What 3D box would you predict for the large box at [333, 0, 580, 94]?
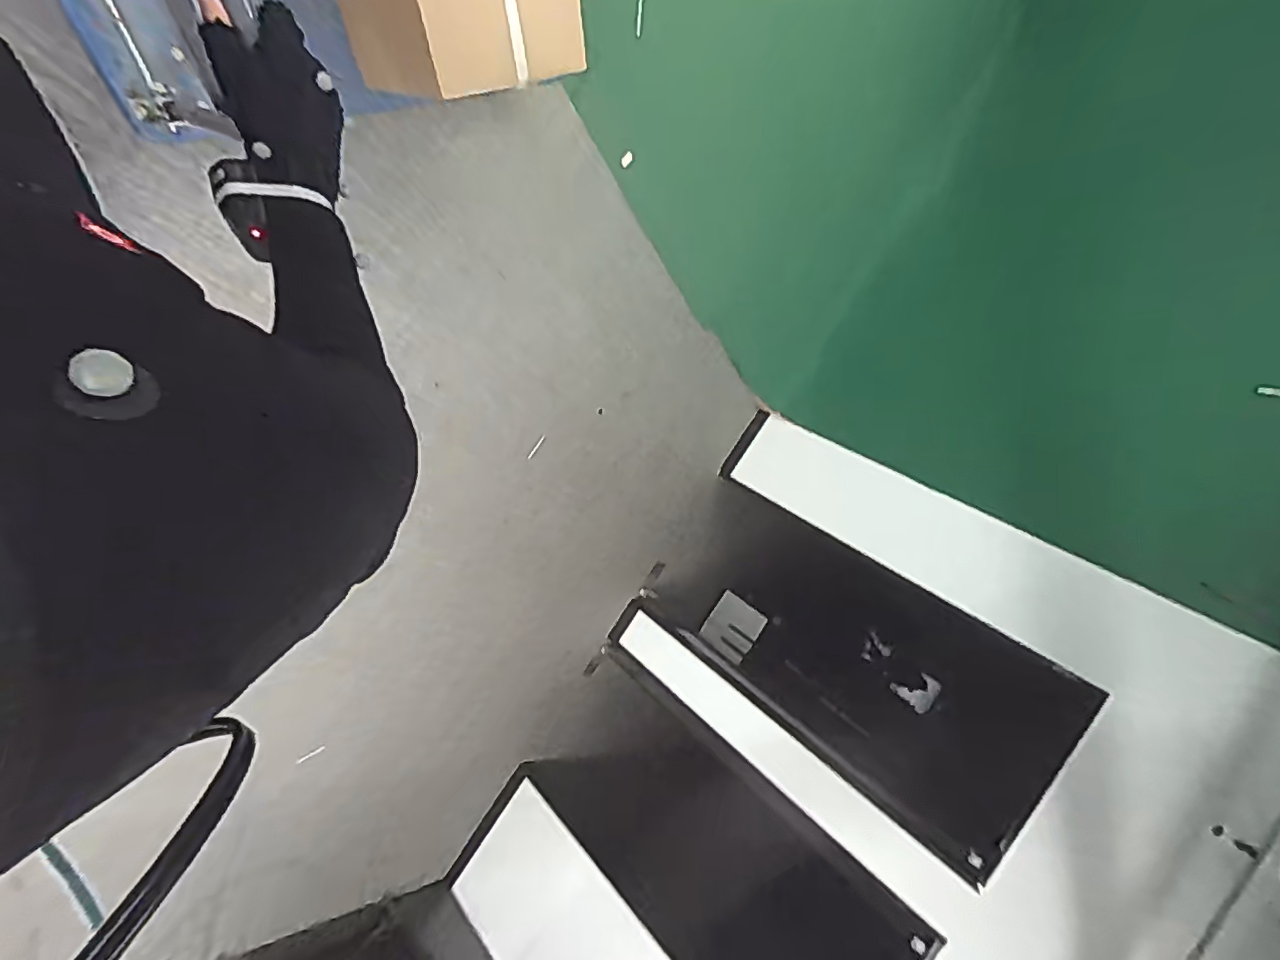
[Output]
[{"bbox_3d":[-0.339,-0.909,0.887,0.320,0.320,0.408,-36,141,-28],"label":"large box"}]
